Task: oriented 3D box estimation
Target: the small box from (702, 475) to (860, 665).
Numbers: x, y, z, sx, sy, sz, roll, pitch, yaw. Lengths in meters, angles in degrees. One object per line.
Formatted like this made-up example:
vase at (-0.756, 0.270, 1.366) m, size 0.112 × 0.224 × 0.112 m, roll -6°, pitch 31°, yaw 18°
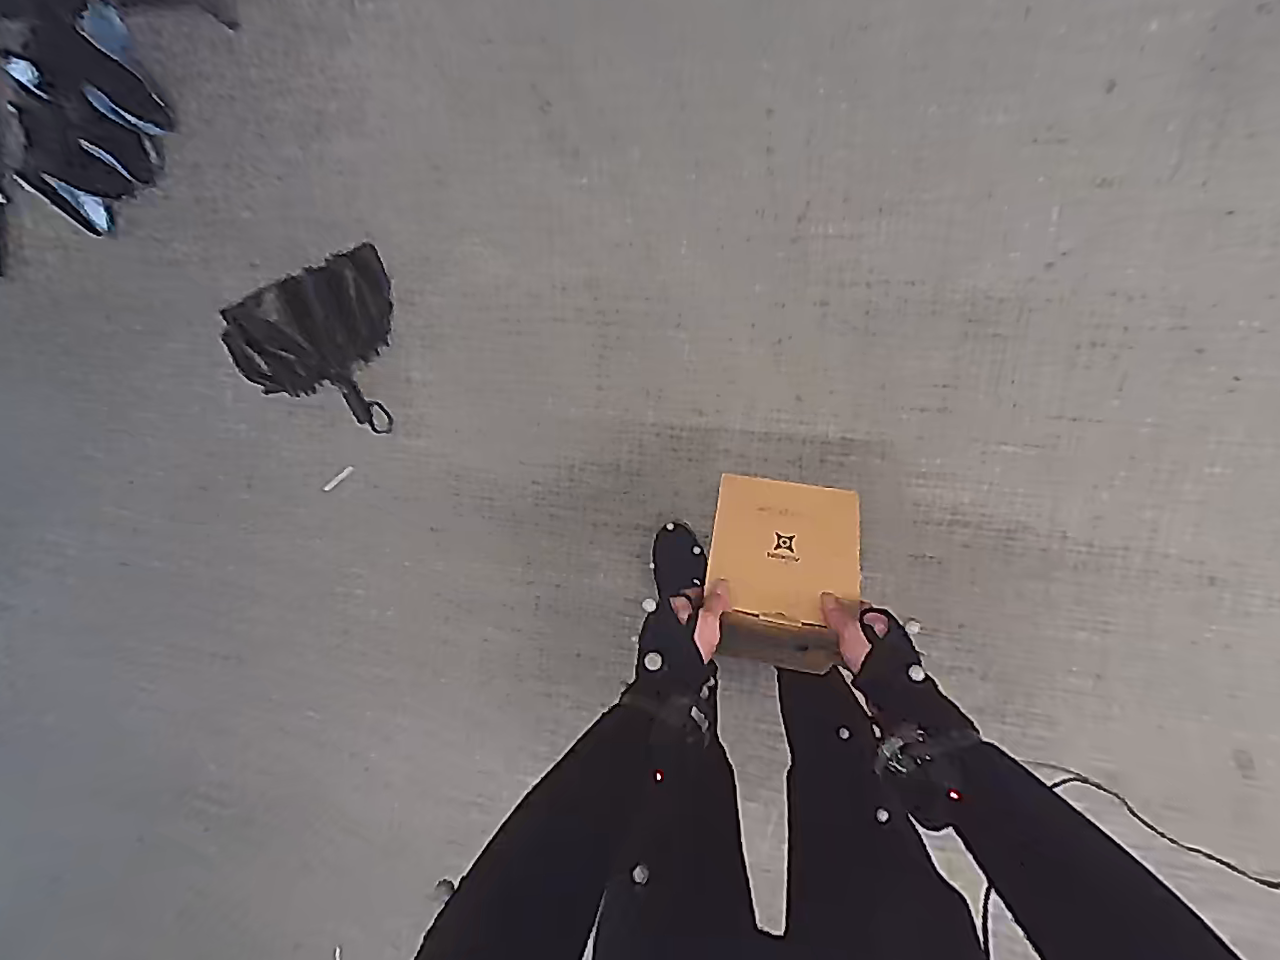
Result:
small box at (0.172, 0.120, 0.690) m, size 0.168 × 0.176 × 0.179 m, roll 8°, pitch 57°, yaw 8°
